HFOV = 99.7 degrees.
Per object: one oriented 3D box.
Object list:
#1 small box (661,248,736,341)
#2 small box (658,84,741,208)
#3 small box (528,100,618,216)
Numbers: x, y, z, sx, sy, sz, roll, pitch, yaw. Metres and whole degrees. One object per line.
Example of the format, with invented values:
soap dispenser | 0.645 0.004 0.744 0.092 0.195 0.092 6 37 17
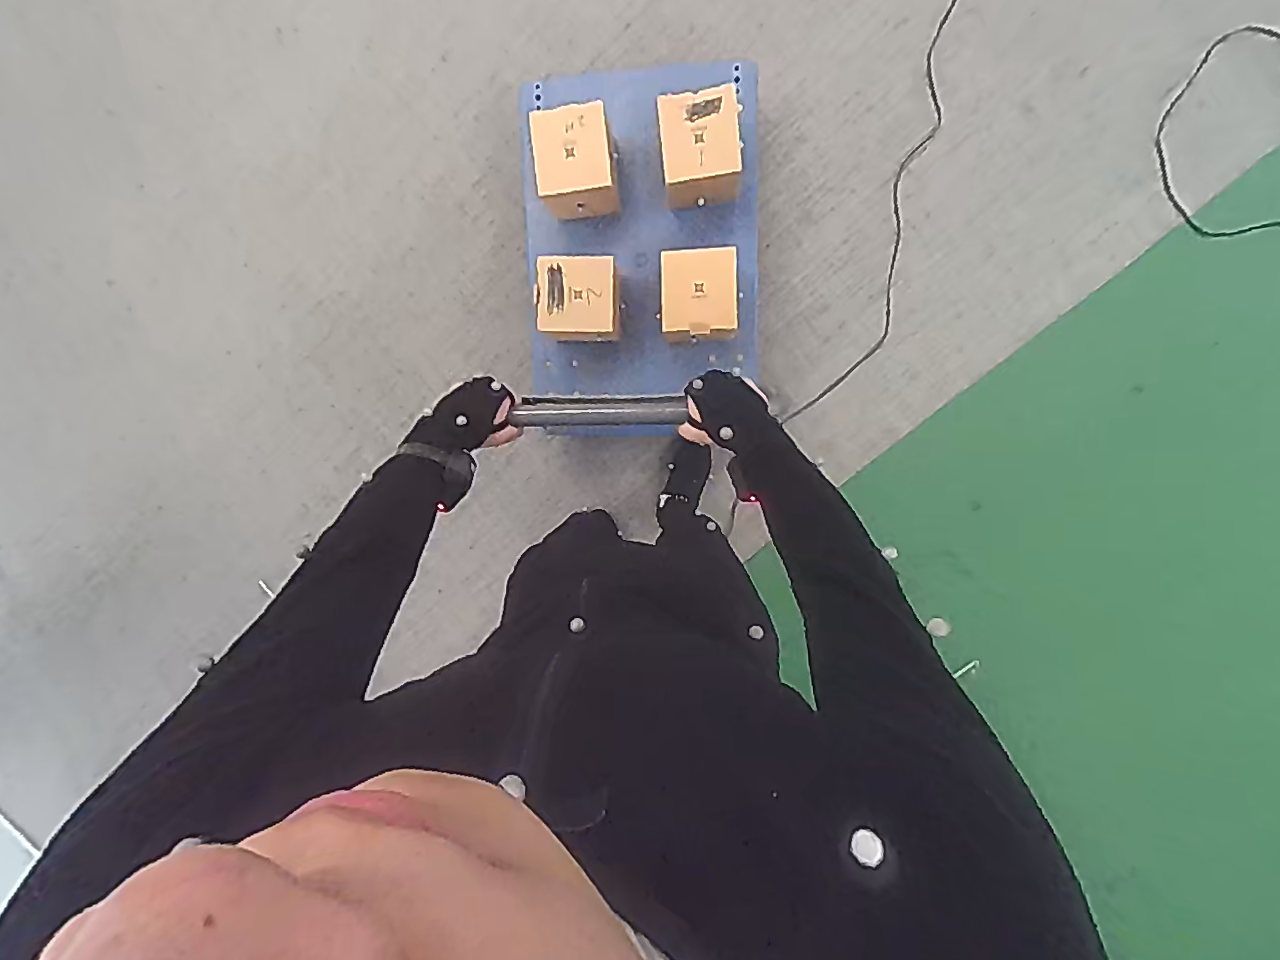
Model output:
small box | 0.133 -0.426 1.260 0.168 0.176 0.179 -1 99 5
small box | 0.132 -0.738 1.213 0.168 0.176 0.179 -5 99 7
small box | -0.146 -0.725 1.241 0.168 0.176 0.179 -5 98 5
